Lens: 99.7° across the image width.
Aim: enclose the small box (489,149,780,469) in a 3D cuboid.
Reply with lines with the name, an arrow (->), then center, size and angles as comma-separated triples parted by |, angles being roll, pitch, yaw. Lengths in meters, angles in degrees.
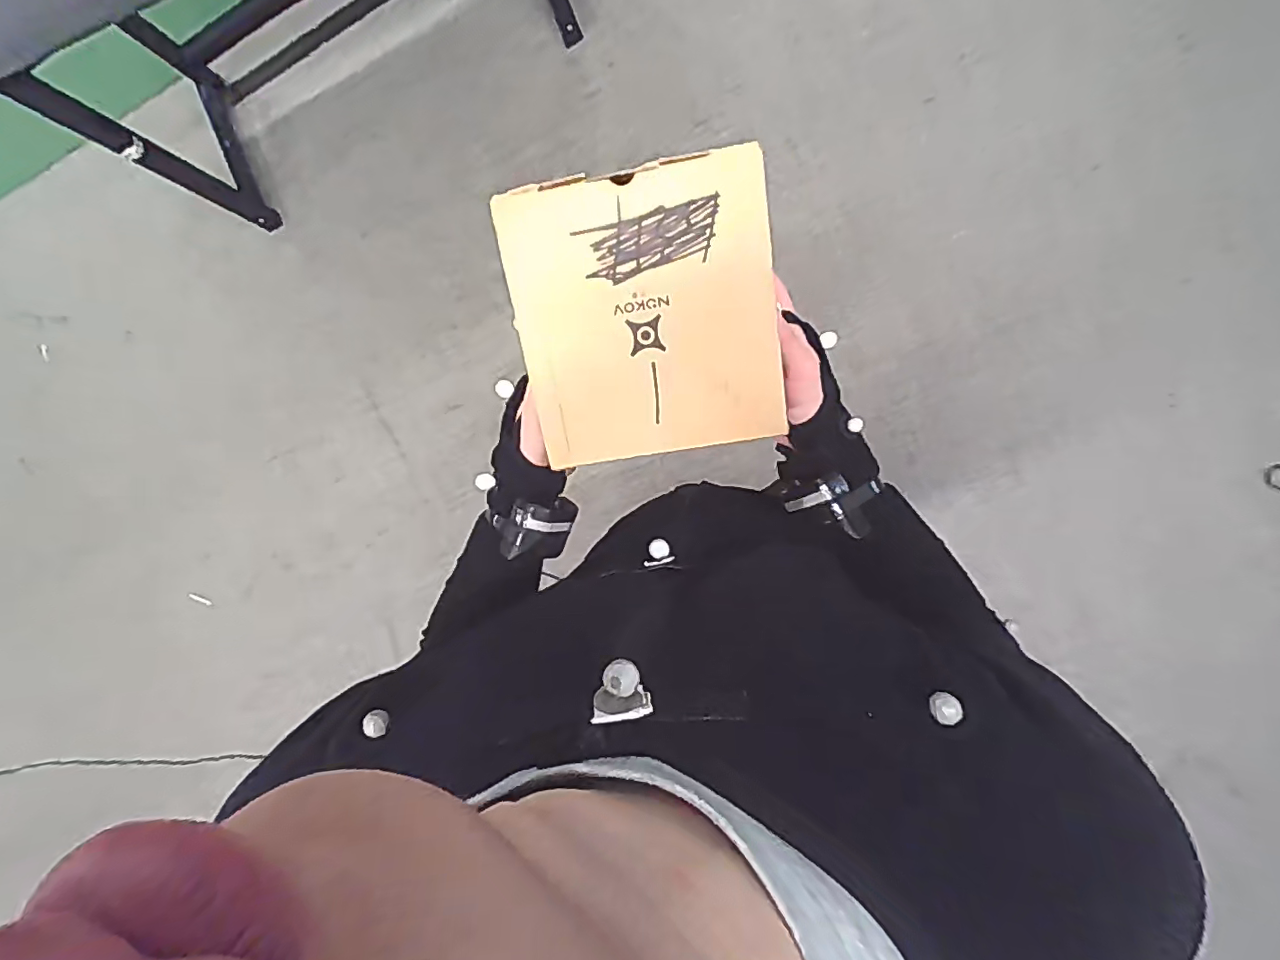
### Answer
small box -> 0.004, -0.123, 0.420 | 0.168, 0.176, 0.179 | -8, 107, 7
